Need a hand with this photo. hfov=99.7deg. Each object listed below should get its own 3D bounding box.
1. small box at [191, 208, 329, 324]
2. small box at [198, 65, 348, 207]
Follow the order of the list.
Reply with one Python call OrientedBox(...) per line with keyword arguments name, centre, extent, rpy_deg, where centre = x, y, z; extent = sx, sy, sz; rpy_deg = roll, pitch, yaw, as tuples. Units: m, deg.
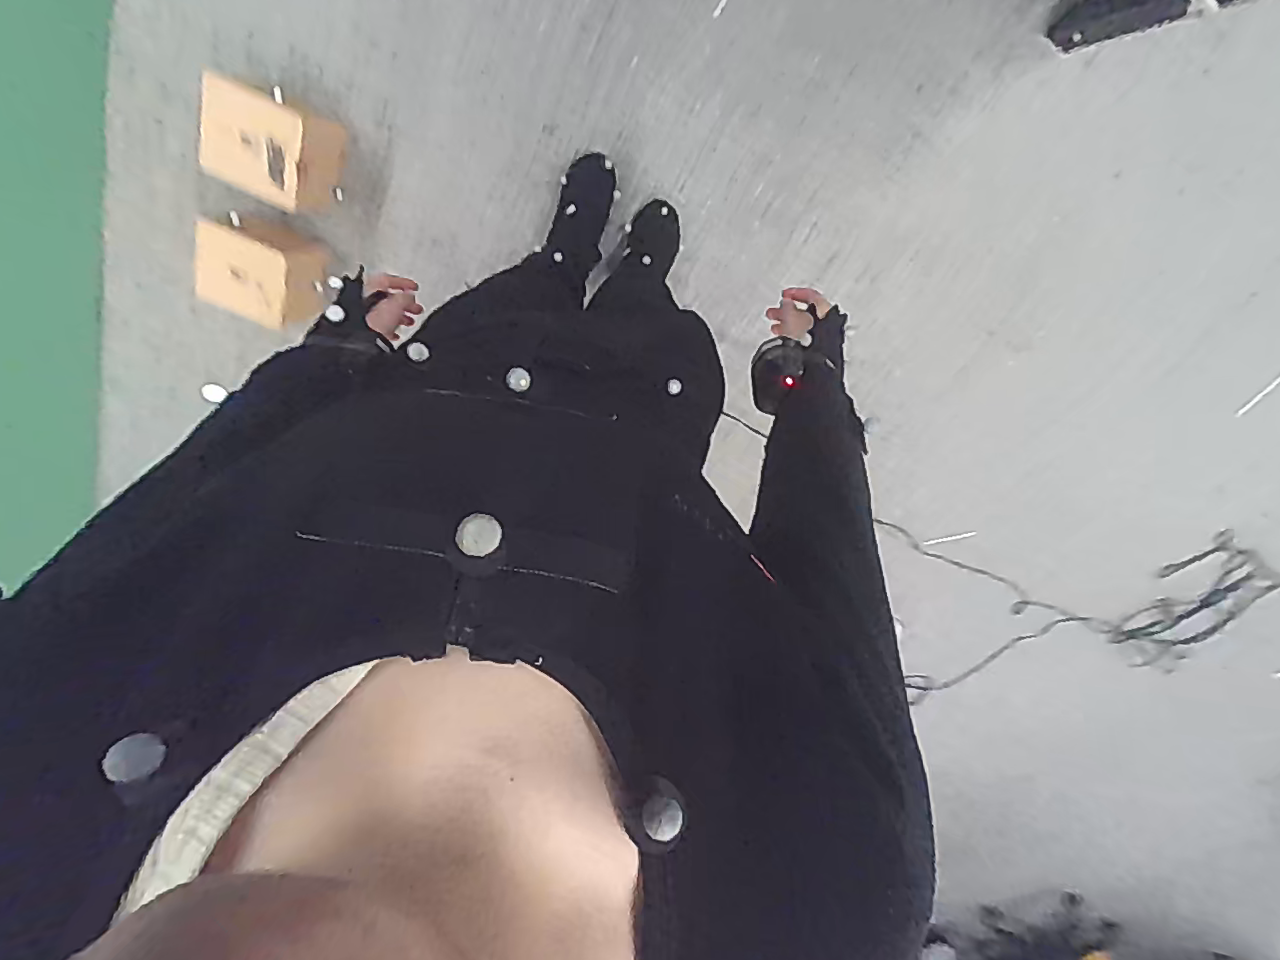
OrientedBox(name="small box", centre=(-0.805, -0.462, 1.155), extent=(0.179, 0.176, 0.168), rpy_deg=(23, 119, -11))
OrientedBox(name="small box", centre=(-0.696, -0.653, 1.039), extent=(0.179, 0.176, 0.168), rpy_deg=(24, 118, -10))
